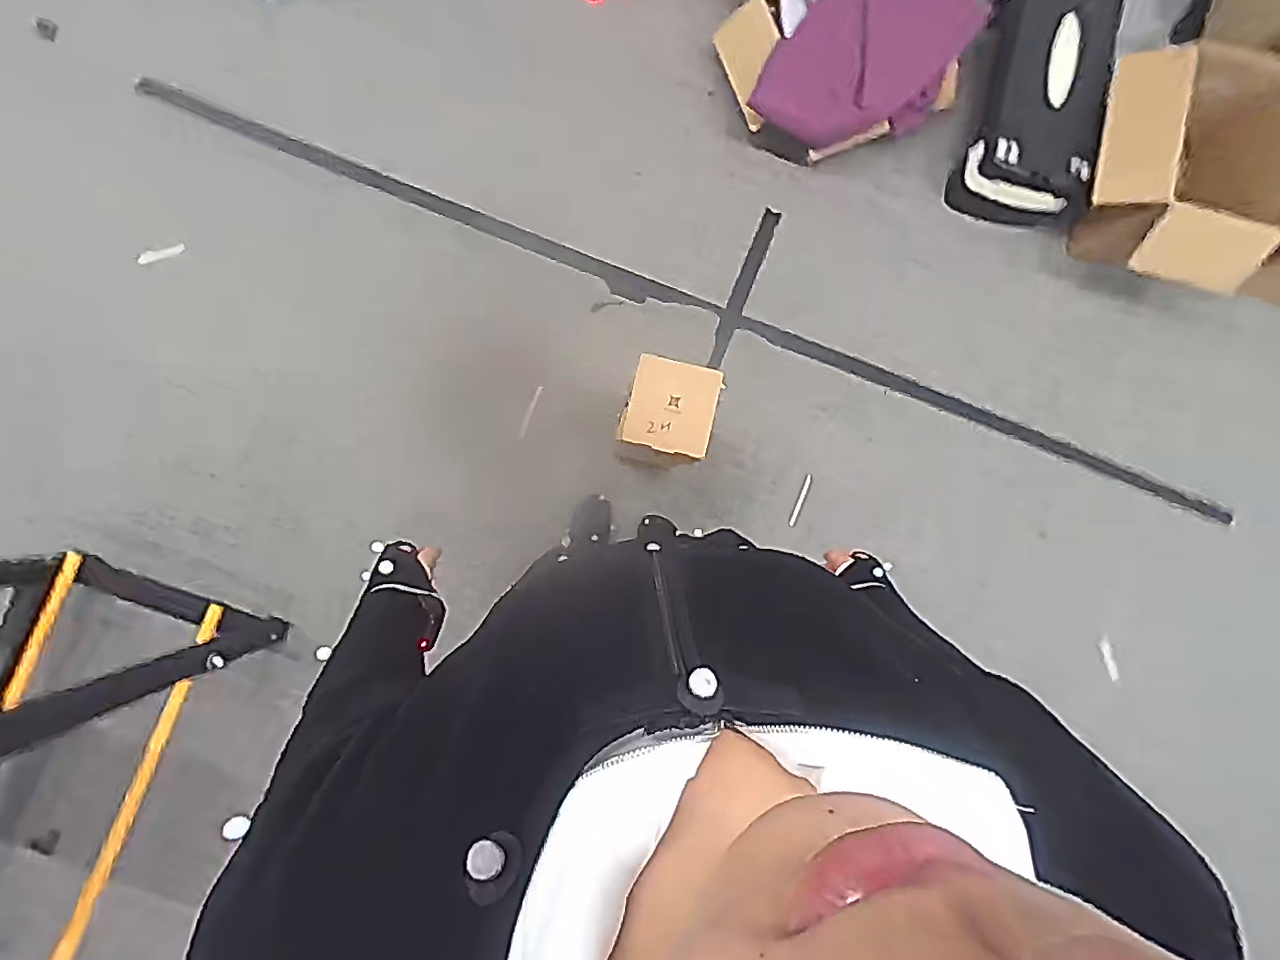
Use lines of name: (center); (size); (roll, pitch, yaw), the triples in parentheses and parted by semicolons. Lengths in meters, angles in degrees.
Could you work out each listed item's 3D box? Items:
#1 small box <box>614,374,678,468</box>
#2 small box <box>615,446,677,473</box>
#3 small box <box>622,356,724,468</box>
small box: (0.046, -0.131, 1.272); (0.179, 0.176, 0.168); (17, 87, -2)
small box: (0.032, -0.124, 1.436); (0.168, 0.176, 0.179); (15, 88, -1)
small box: (0.060, -0.130, 1.107); (0.168, 0.176, 0.179); (13, 88, -1)
